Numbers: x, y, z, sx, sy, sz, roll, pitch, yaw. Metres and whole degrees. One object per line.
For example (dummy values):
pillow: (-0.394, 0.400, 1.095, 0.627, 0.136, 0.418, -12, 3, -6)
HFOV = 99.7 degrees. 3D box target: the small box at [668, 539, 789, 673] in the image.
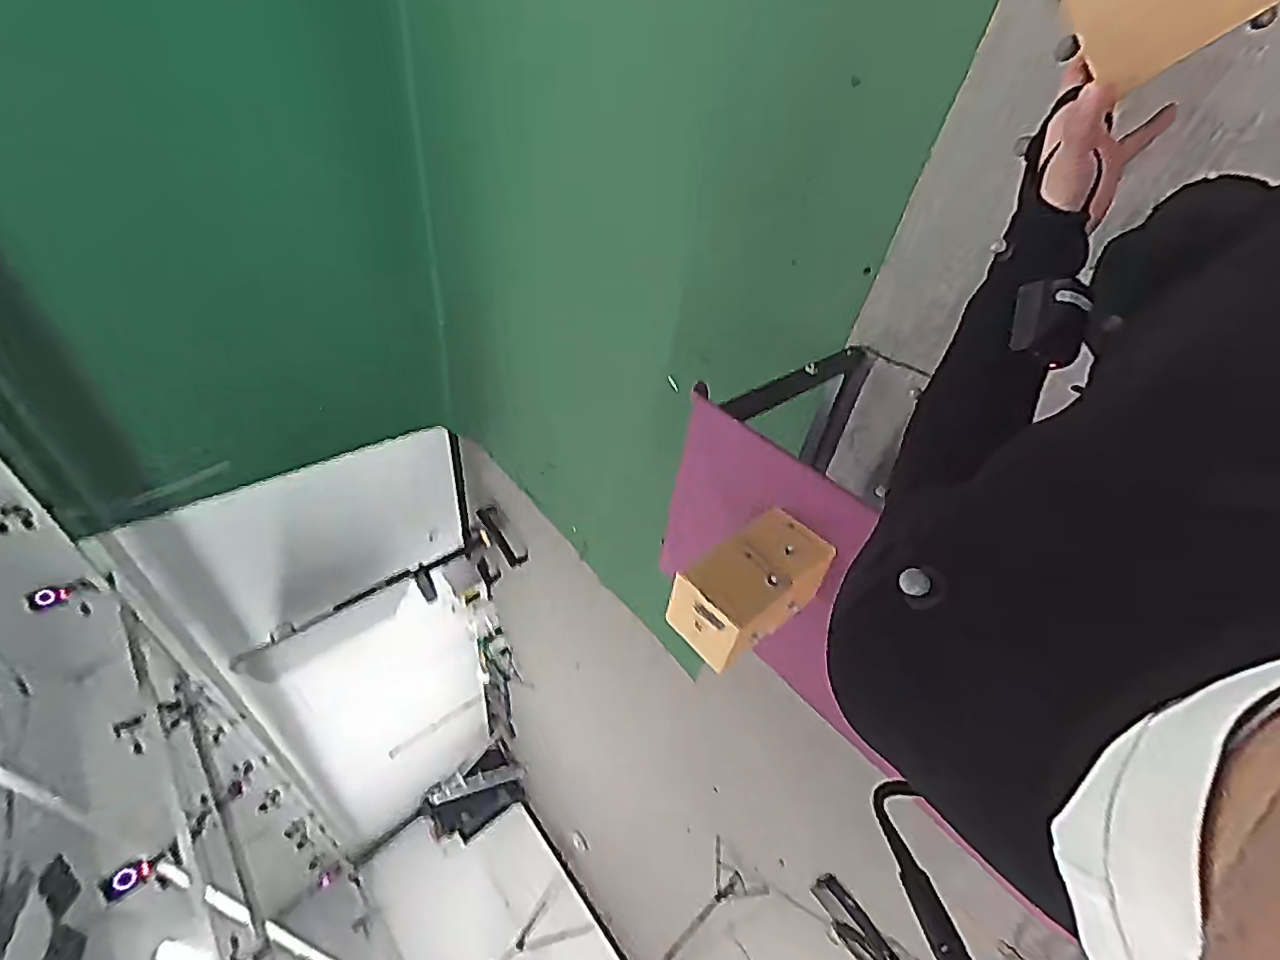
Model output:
small box: (0.183, 0.253, 1.120, 0.168, 0.176, 0.179, 41, 142, 30)

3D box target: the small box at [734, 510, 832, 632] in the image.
small box: (0.305, 0.197, 1.216, 0.168, 0.176, 0.179, 38, 140, 32)
